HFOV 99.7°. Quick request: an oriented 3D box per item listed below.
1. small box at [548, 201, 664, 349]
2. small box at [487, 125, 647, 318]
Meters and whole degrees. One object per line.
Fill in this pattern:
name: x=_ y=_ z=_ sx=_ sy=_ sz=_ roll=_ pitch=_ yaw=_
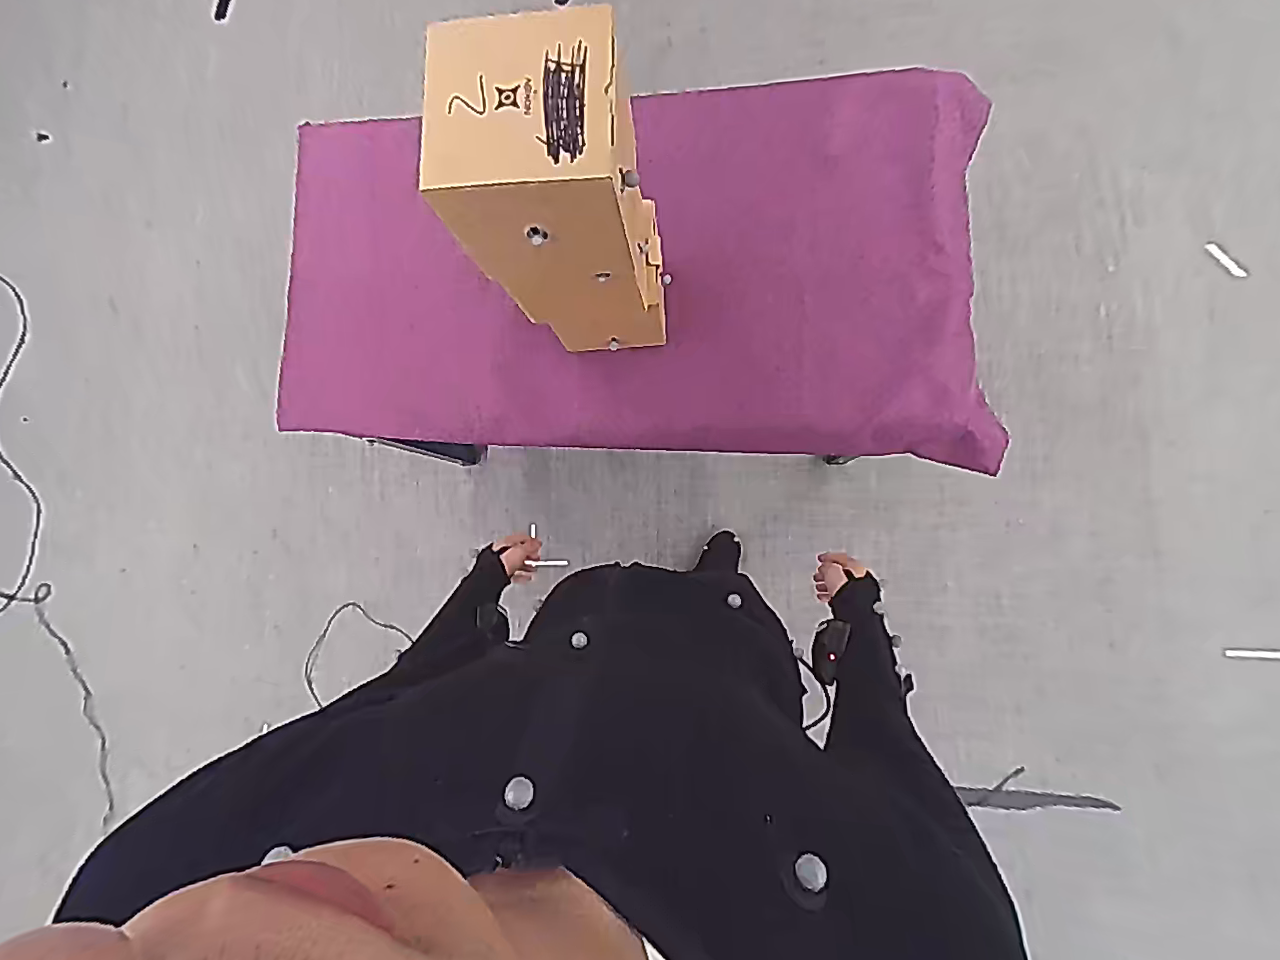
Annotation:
small box: x=-0.050 y=-0.321 z=0.877 sx=0.179 sy=0.176 sz=0.168 roll=-3 pitch=83 yaw=5
small box: x=-0.087 y=-0.326 z=0.717 sx=0.179 sy=0.176 sz=0.168 roll=-2 pitch=84 yaw=6
